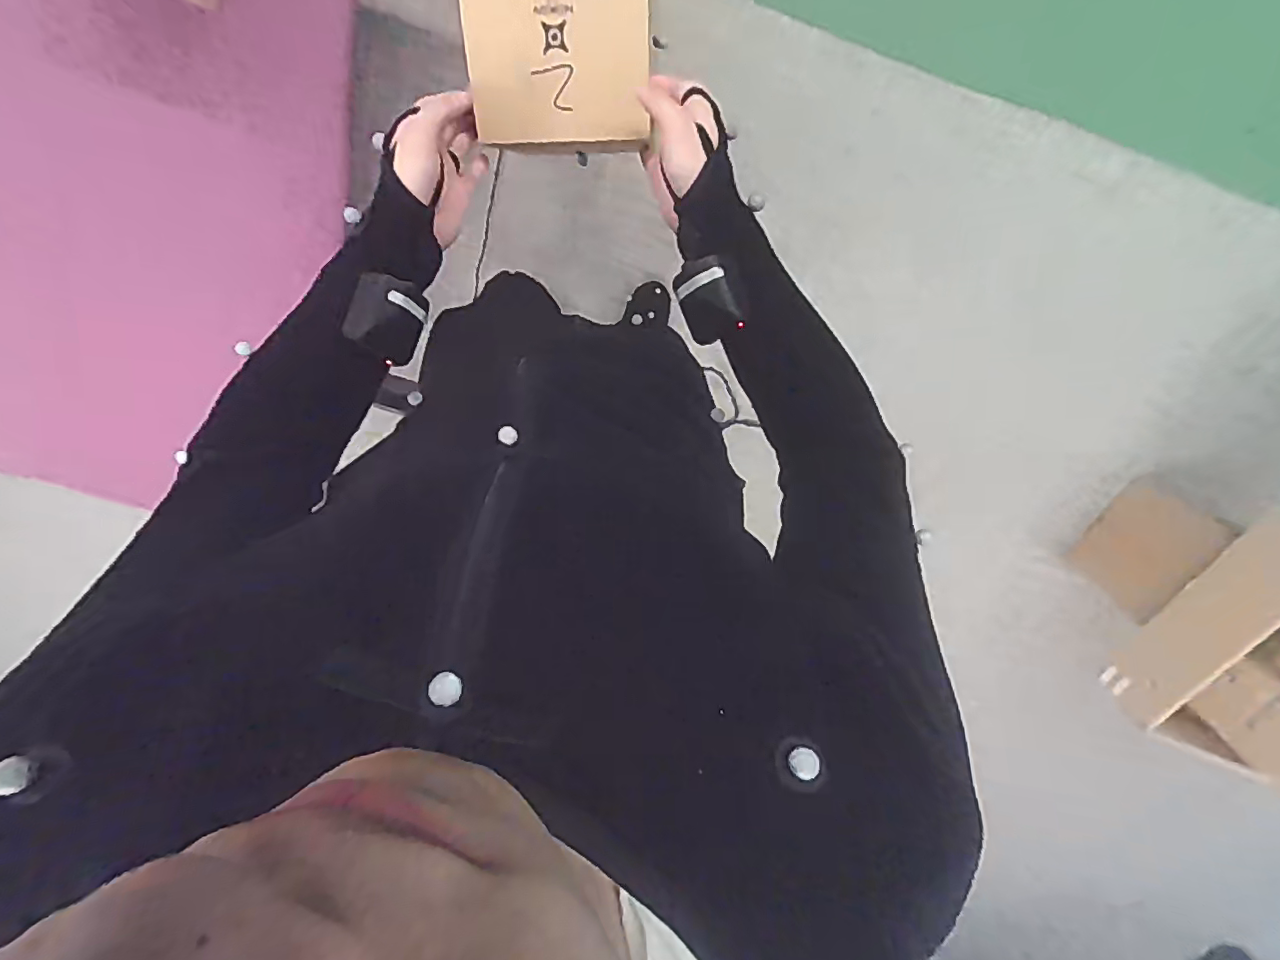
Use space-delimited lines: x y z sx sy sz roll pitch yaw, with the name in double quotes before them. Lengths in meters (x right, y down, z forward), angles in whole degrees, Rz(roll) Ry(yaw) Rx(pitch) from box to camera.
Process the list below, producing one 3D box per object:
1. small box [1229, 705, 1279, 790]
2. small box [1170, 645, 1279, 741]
"small box" 1.426 0.589 1.128 0.179 0.176 0.168 22 115 -6
"small box" 1.437 0.519 1.277 0.179 0.176 0.168 22 114 -7
